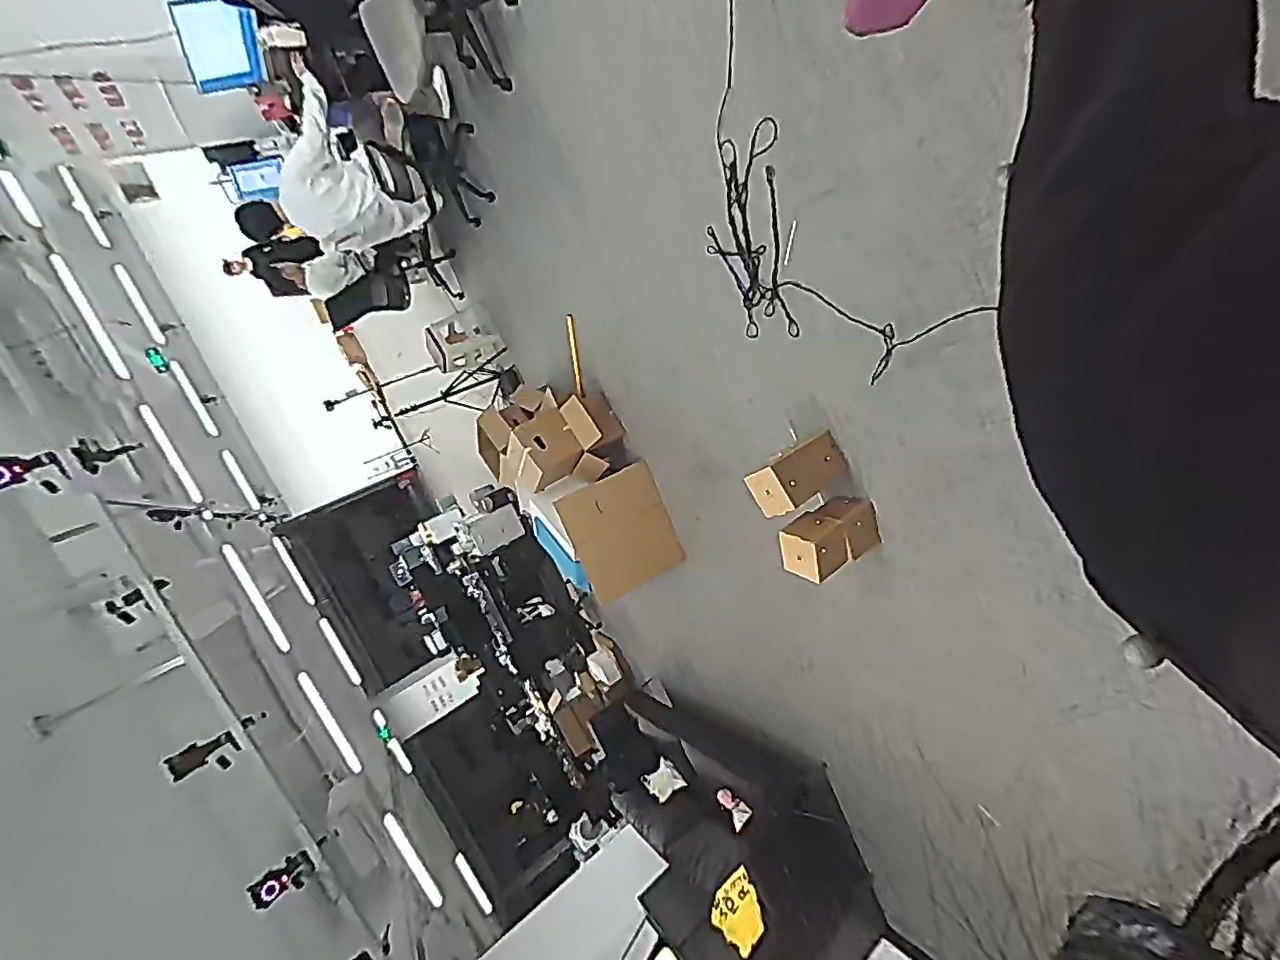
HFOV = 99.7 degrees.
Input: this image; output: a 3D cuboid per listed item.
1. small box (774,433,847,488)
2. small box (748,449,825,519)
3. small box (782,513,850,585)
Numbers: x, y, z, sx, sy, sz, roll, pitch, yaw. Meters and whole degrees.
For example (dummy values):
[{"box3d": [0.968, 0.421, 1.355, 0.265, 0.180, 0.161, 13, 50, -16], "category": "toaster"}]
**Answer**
[{"box3d": [0.650, -0.060, 2.035, 0.168, 0.176, 0.179, 62, 154, -2], "category": "small box"}, {"box3d": [0.531, 0.015, 1.952, 0.179, 0.176, 0.168, 60, 153, 2], "category": "small box"}, {"box3d": [0.648, 0.248, 1.979, 0.168, 0.176, 0.179, 20, 132, 54], "category": "small box"}]
